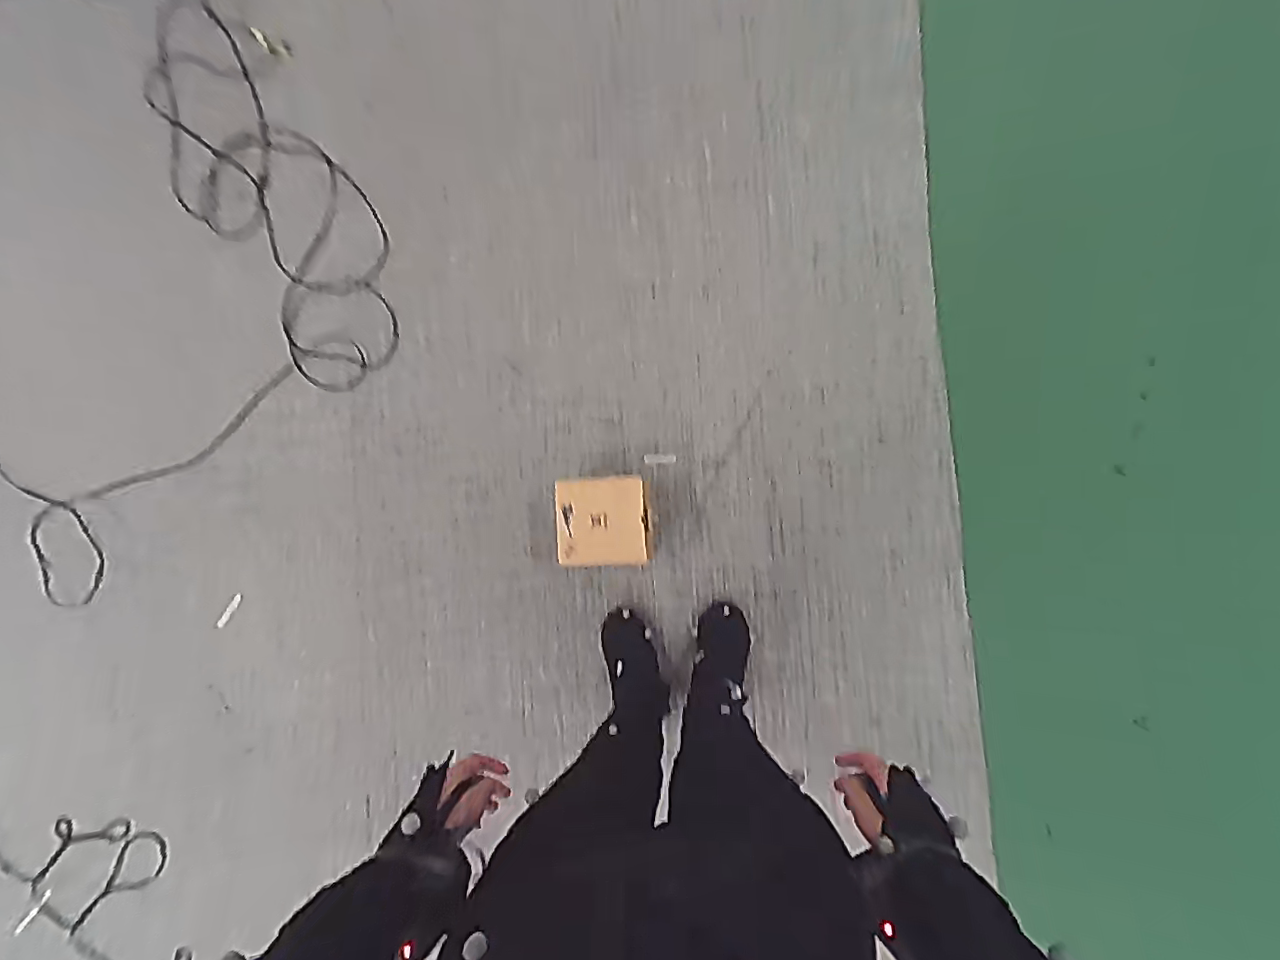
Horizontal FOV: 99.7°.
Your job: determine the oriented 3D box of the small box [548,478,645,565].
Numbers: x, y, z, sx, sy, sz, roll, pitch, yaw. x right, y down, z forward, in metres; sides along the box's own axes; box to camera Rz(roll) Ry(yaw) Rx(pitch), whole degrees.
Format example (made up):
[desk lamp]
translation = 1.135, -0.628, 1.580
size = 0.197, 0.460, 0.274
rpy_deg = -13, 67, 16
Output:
[small box]
translation = -0.082, 0.080, 1.119
size = 0.179, 0.176, 0.168
rpy_deg = -3, 88, 5
